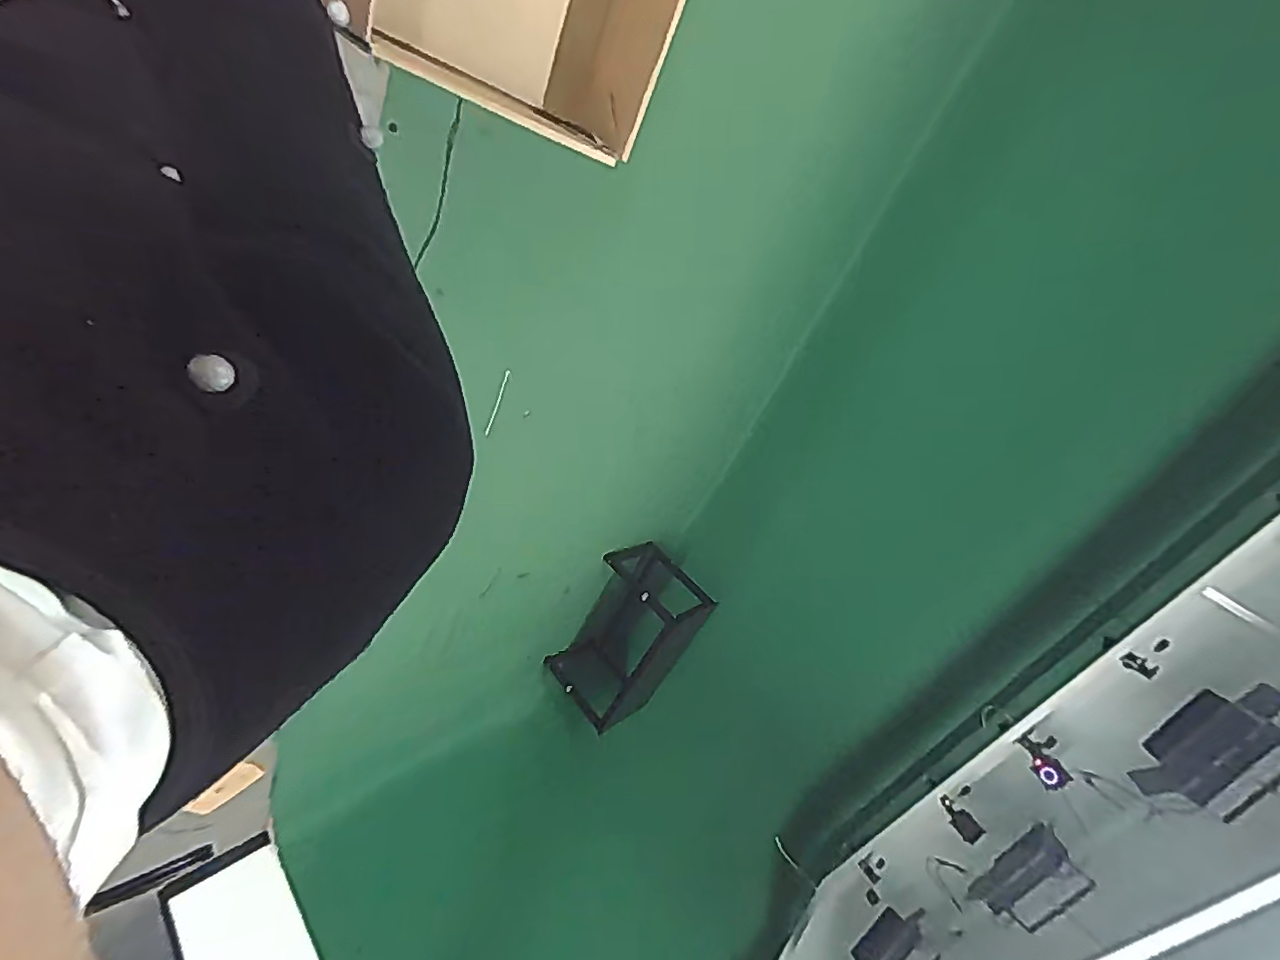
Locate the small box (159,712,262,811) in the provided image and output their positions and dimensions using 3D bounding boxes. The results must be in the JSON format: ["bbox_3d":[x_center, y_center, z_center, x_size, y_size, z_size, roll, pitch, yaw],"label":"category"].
[{"bbox_3d":[-1.267,0.826,1.591,0.179,0.176,0.168,-33,151,-27],"label":"small box"}]
